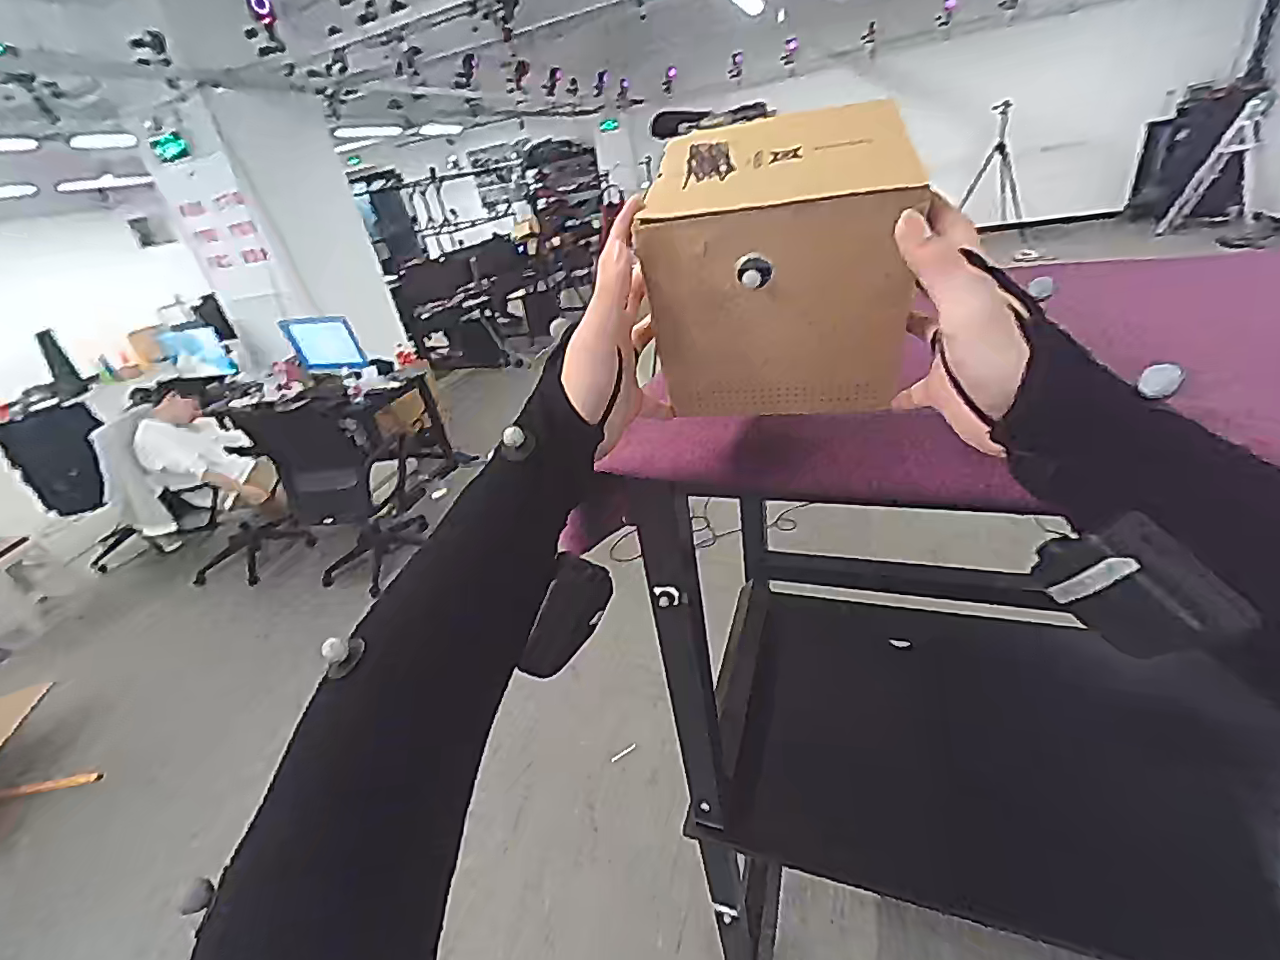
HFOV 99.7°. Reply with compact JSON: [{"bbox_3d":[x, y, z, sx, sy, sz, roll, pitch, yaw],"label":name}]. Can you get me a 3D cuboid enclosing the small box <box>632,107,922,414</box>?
[{"bbox_3d":[0.109,-0.166,0.436,0.179,0.176,0.168,0,48,16],"label":"small box"}]
